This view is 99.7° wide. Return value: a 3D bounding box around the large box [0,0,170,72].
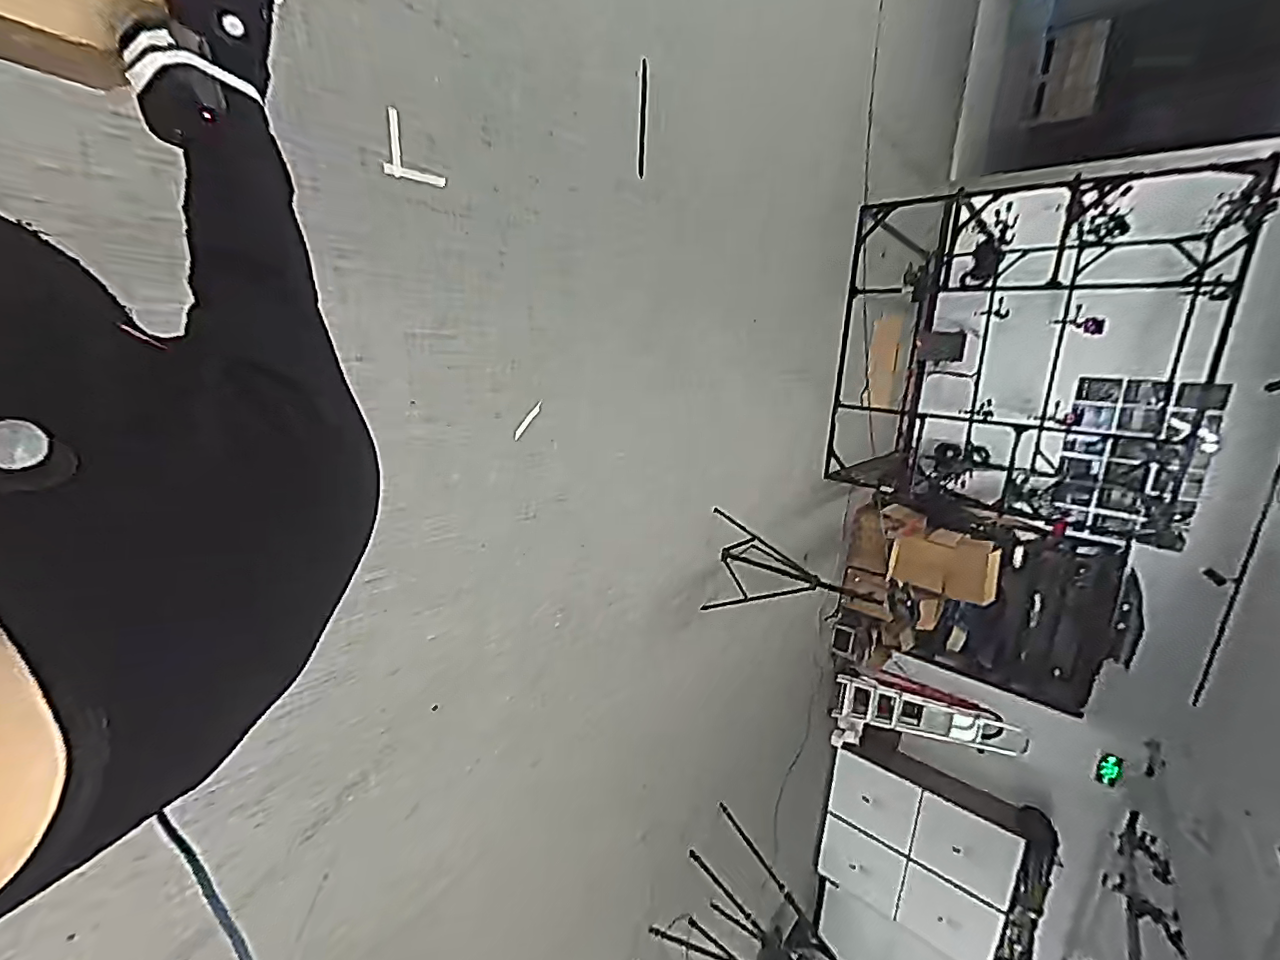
[{"bbox_3d":[-0.586,-0.504,0.314,0.408,0.320,0.320,-13,122,-50],"label":"large box"}]
